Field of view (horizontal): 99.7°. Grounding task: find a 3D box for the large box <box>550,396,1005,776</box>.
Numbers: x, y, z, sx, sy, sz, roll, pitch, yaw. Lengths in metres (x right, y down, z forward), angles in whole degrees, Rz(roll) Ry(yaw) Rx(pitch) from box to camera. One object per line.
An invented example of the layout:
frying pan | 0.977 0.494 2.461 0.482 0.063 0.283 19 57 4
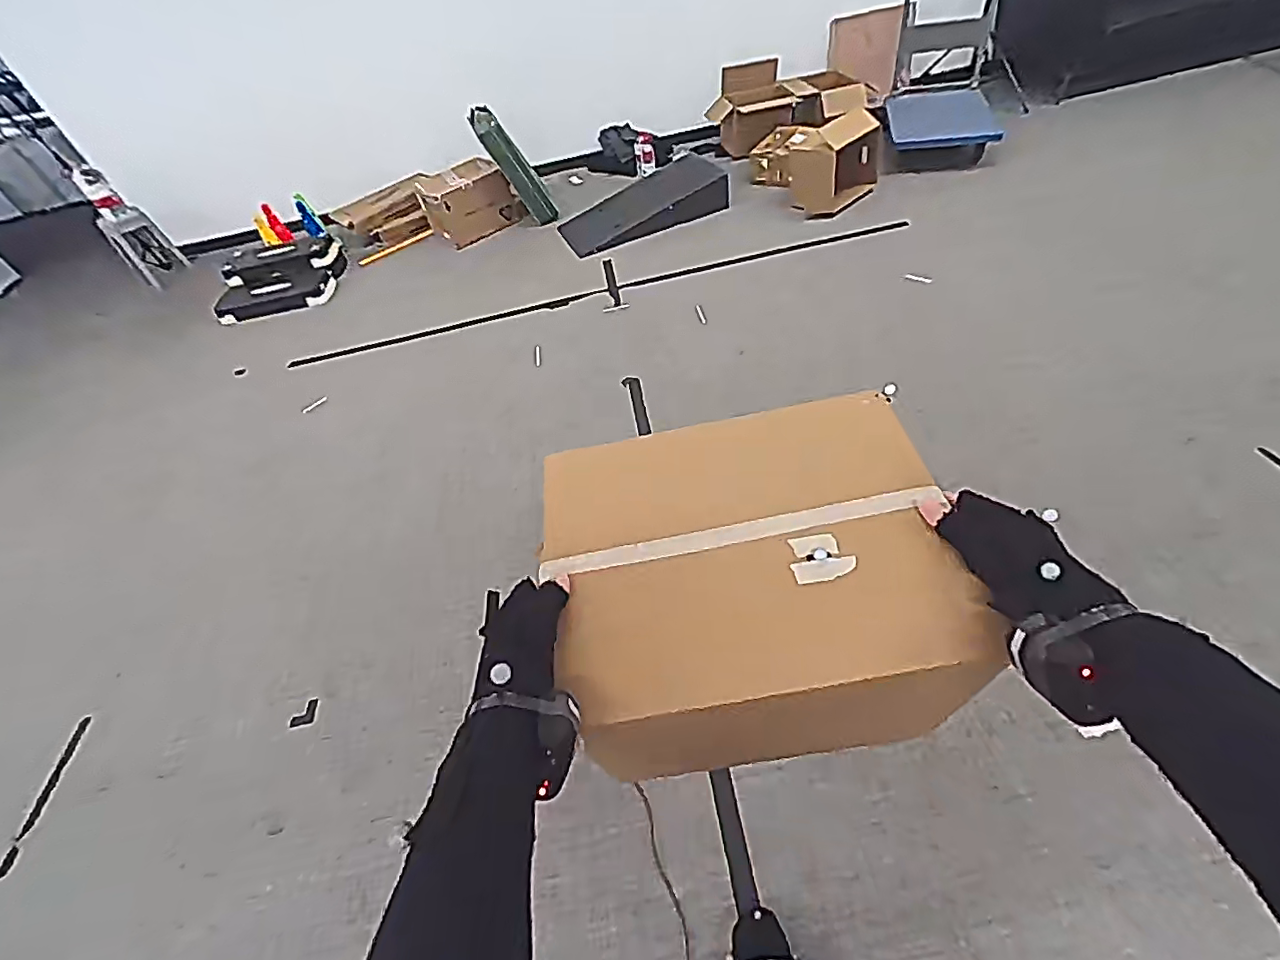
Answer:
large box | 0.124 0.145 0.678 0.408 0.320 0.320 -11 53 2
